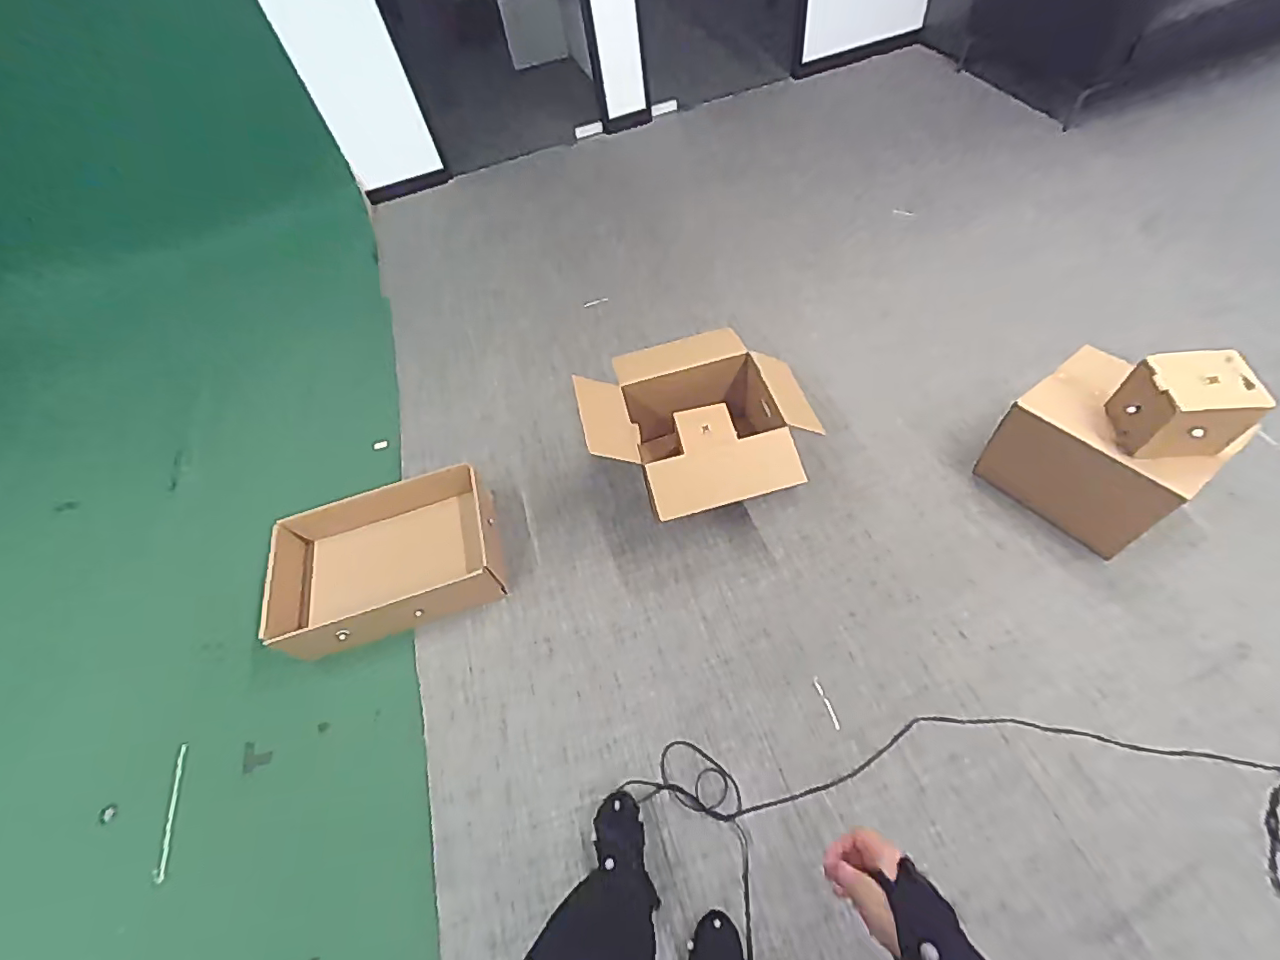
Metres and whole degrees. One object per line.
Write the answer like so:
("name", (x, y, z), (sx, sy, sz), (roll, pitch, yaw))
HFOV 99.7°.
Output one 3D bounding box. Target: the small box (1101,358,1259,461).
("small box", (1.203, -0.155, 1.230), (0.179, 0.176, 0.168), (-2, 56, 9))
